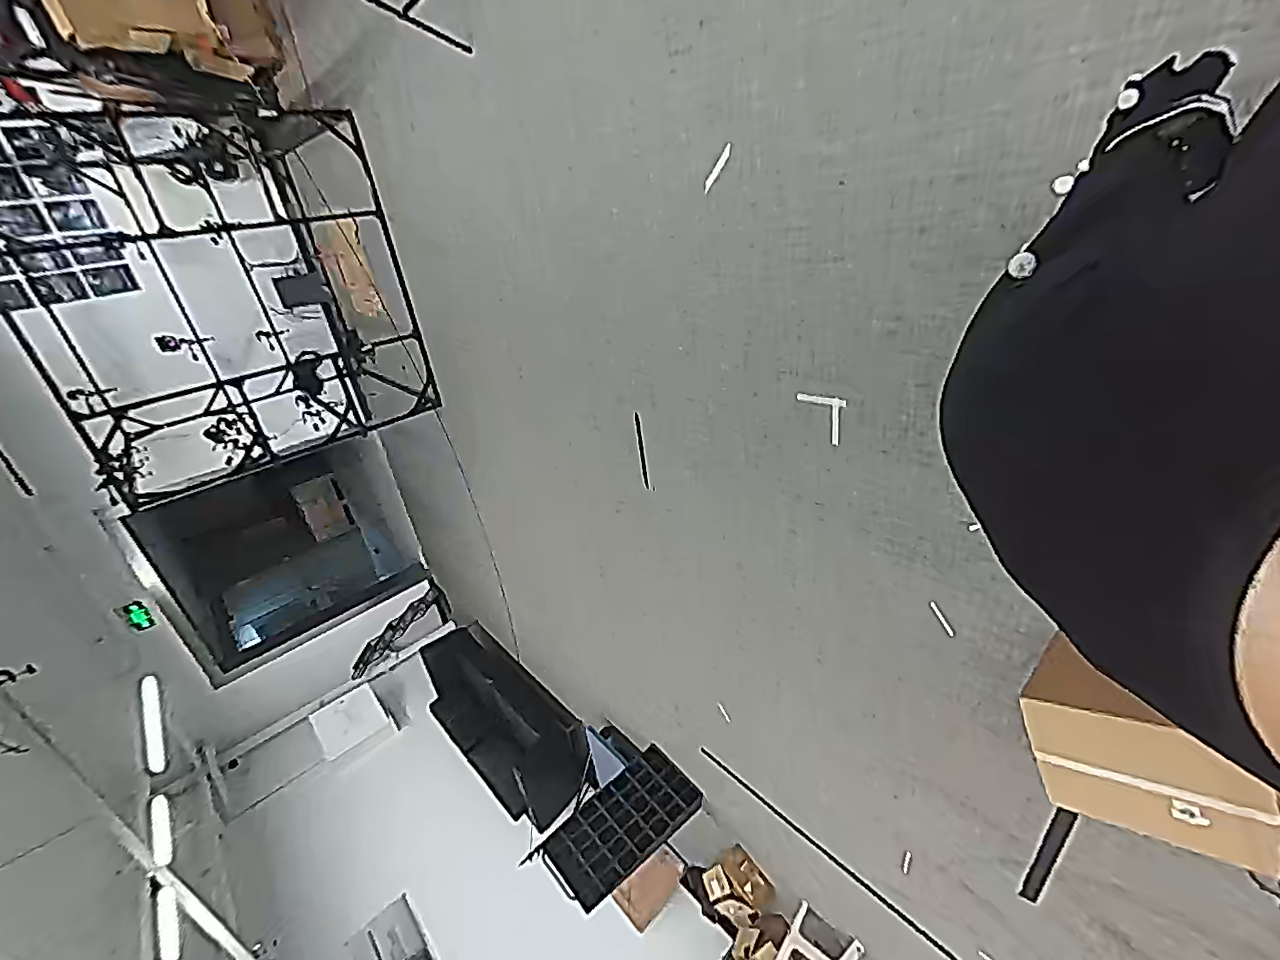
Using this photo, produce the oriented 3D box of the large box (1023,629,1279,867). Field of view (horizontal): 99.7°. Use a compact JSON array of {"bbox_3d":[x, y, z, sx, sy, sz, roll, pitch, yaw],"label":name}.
[{"bbox_3d":[1.193,0.570,1.240,0.408,0.320,0.320,-10,104,54],"label":"large box"}]
